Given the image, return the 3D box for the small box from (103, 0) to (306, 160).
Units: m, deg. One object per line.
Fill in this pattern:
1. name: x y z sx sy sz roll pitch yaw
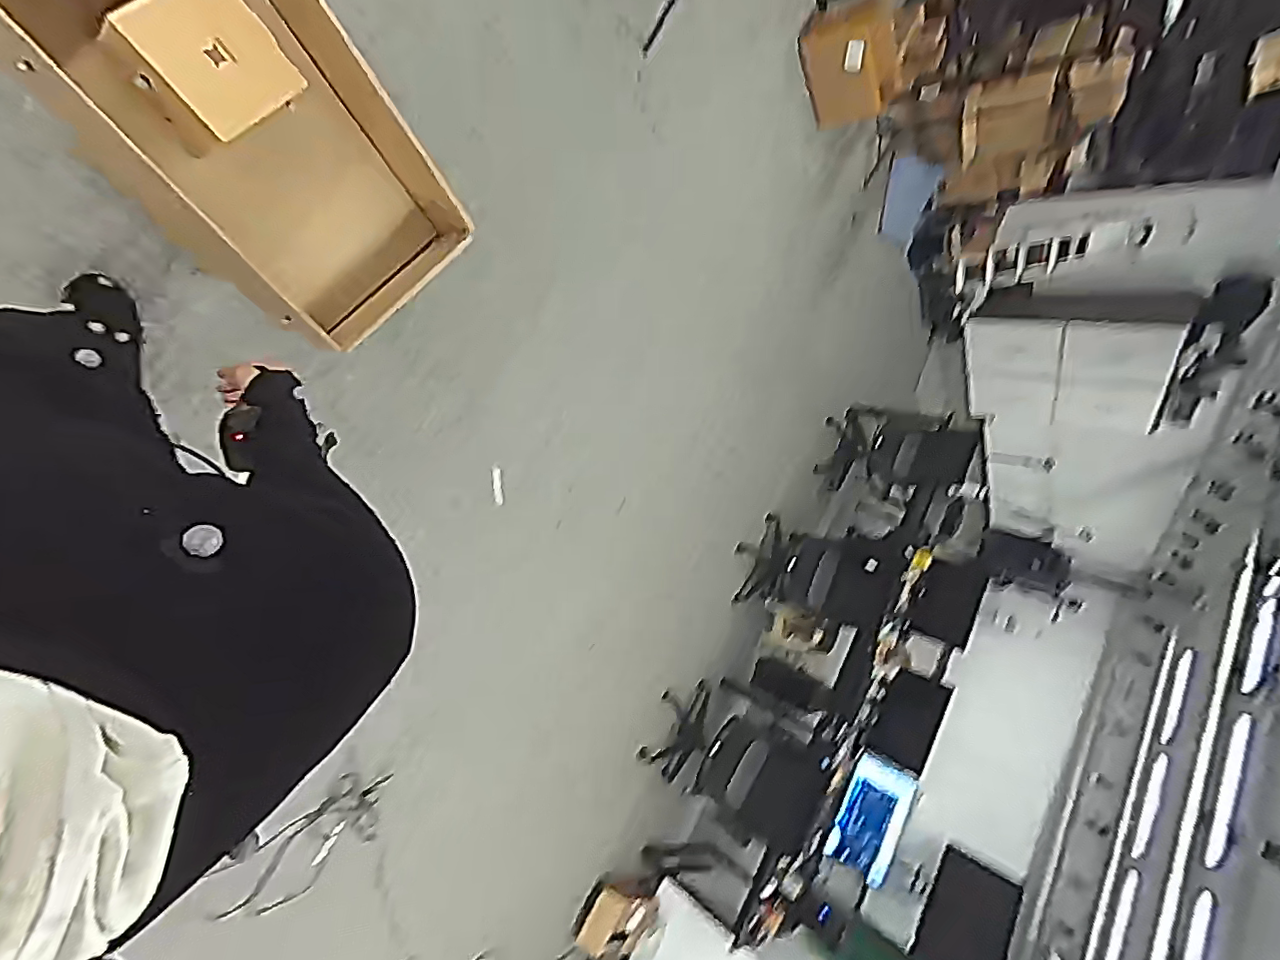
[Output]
1. small box: -0.670 -0.627 0.833 0.179 0.176 0.168 -56 137 -21
